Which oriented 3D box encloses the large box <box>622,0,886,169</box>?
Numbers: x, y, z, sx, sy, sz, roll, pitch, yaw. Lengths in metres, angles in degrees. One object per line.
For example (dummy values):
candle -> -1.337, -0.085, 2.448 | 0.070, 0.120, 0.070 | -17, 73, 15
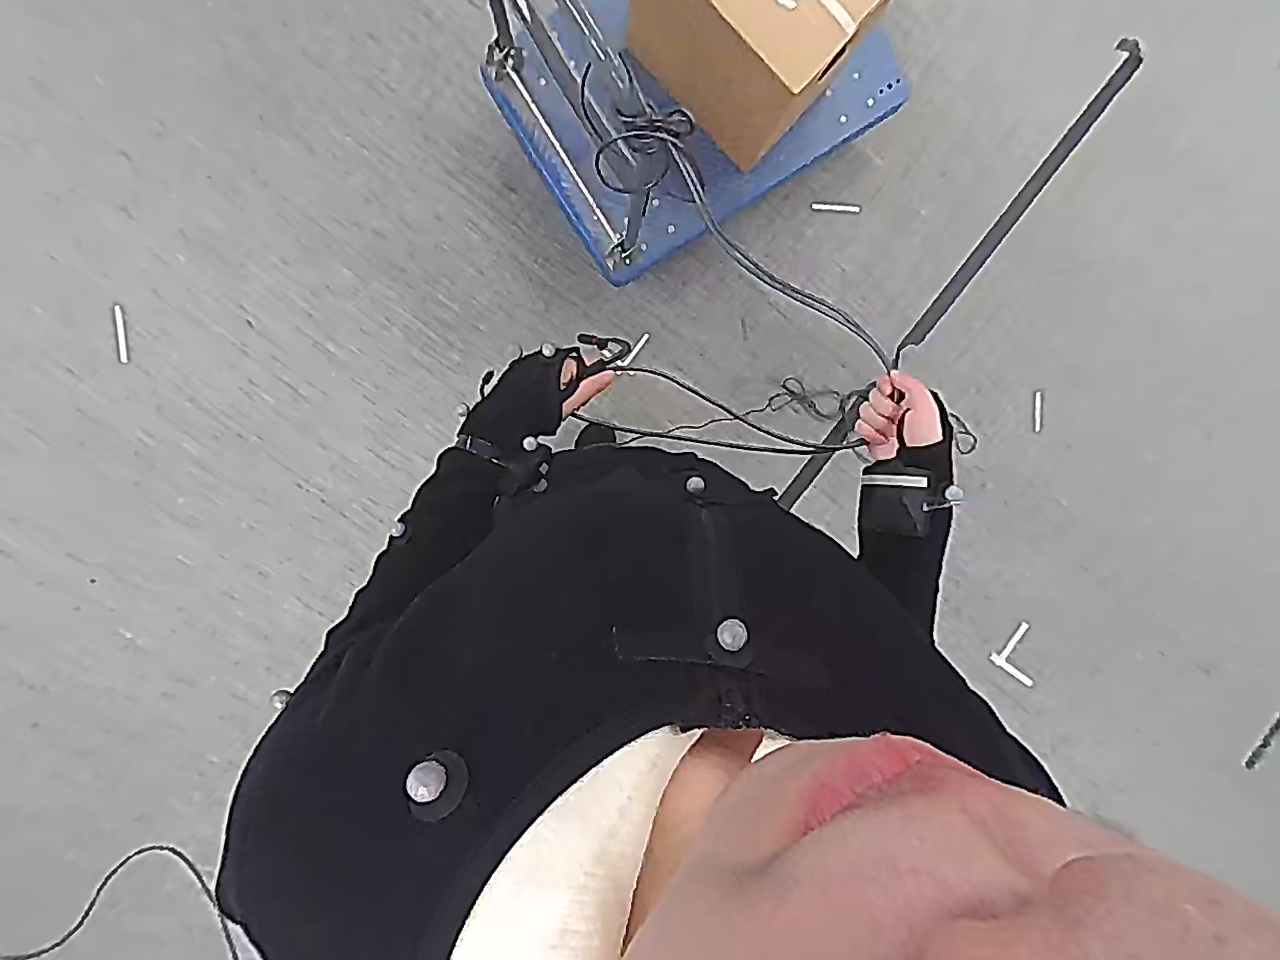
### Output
large box -> 0.219, -0.958, 1.106 | 0.408, 0.320, 0.320 | 42, 90, -9
